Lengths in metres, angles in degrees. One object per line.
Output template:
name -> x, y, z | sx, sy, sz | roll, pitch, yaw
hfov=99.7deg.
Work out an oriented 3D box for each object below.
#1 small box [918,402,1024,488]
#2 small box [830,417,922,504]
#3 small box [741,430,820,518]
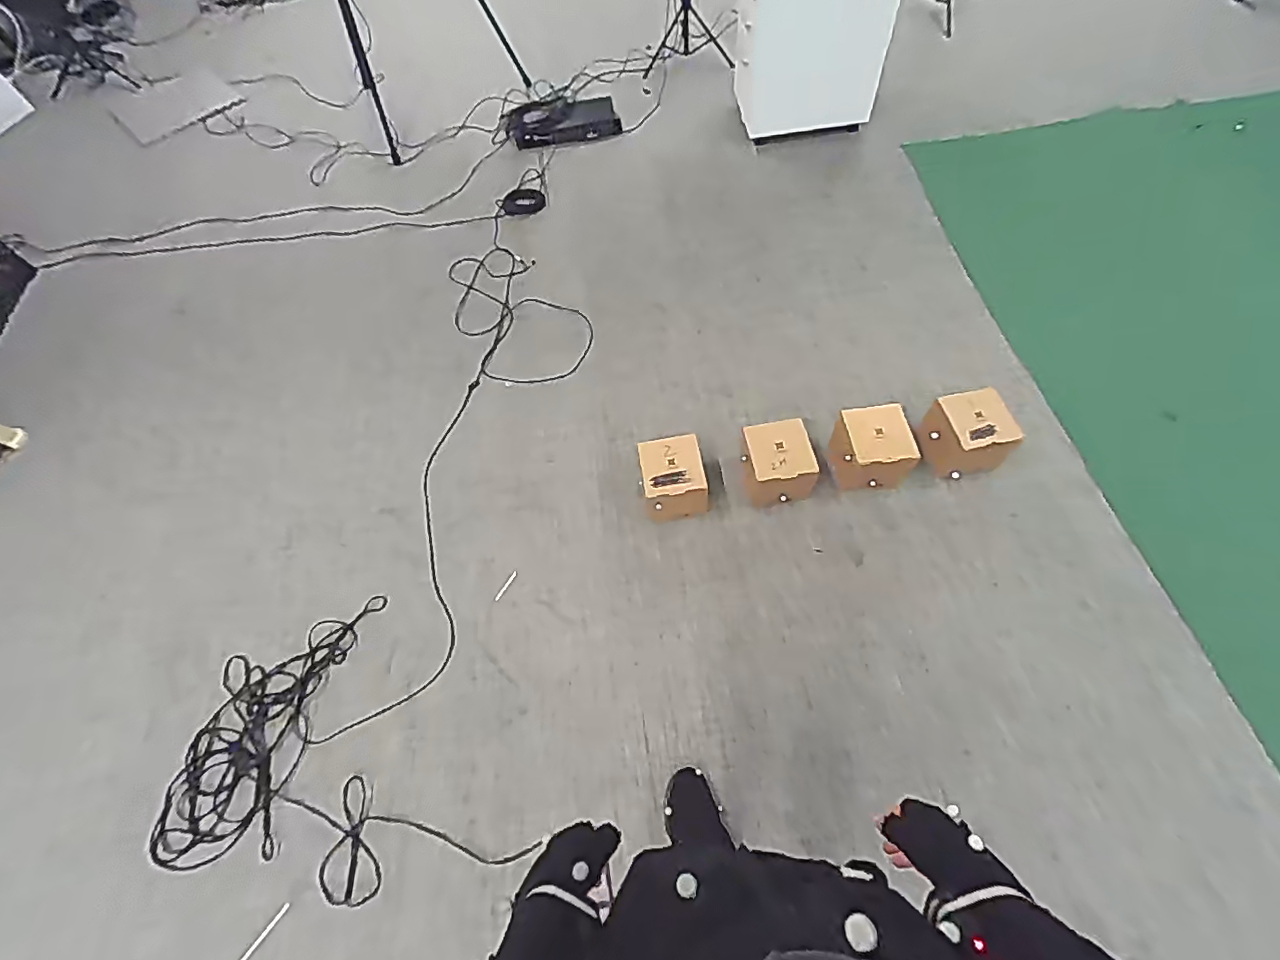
small box -> 0.917, -0.090, 1.515 | 0.168, 0.176, 0.179 | -10, 60, -1
small box -> 0.650, -0.051, 1.517 | 0.168, 0.176, 0.179 | -7, 61, 1
small box -> 0.385, -0.013, 1.515 | 0.168, 0.176, 0.179 | -9, 61, 1
